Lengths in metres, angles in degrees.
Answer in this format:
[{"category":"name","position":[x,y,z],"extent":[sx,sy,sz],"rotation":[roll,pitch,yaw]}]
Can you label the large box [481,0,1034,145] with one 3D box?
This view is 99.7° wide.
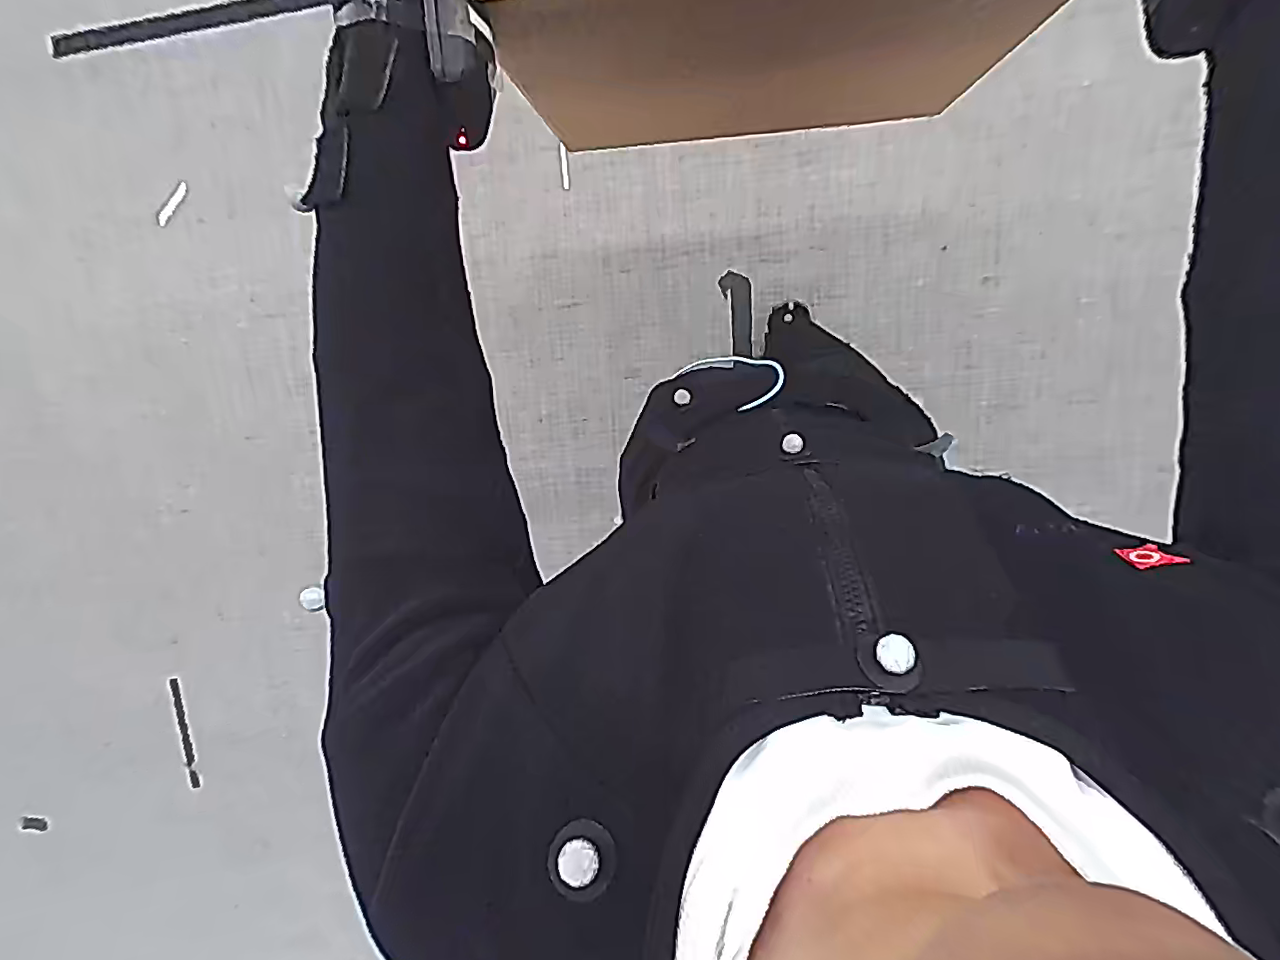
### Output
[{"category":"large box","position":[0.090,-0.496,0.414],"extent":[0.408,0.320,0.320],"rotation":[-2,107,6]}]
